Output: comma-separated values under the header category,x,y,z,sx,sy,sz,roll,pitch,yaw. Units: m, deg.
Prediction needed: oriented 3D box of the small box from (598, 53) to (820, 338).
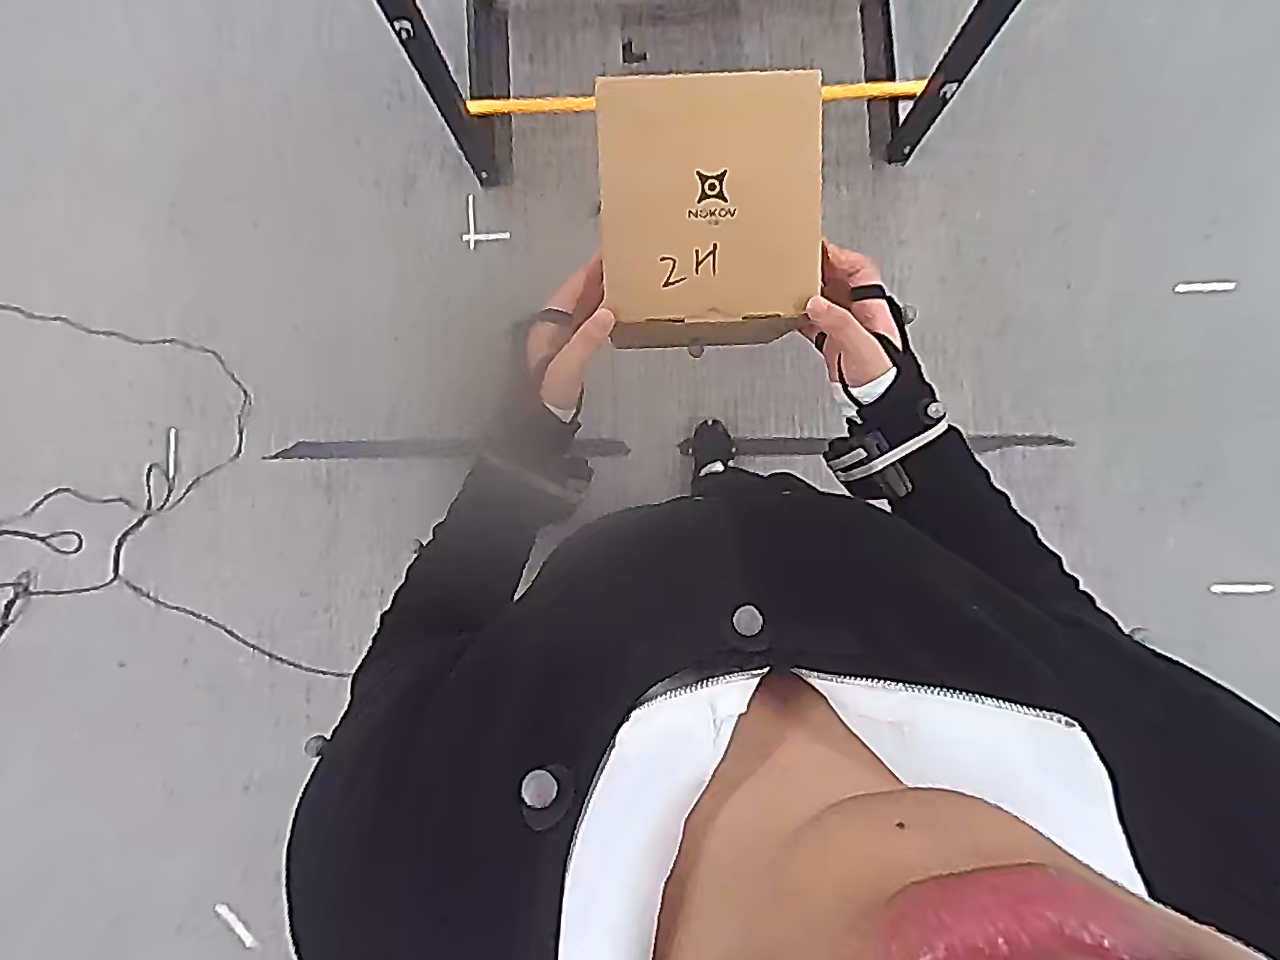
category,x,y,z,sx,sy,sz,roll,pitch,yaw
small box,0.051,-0.231,0.480,0.168,0.176,0.179,-2,96,1
